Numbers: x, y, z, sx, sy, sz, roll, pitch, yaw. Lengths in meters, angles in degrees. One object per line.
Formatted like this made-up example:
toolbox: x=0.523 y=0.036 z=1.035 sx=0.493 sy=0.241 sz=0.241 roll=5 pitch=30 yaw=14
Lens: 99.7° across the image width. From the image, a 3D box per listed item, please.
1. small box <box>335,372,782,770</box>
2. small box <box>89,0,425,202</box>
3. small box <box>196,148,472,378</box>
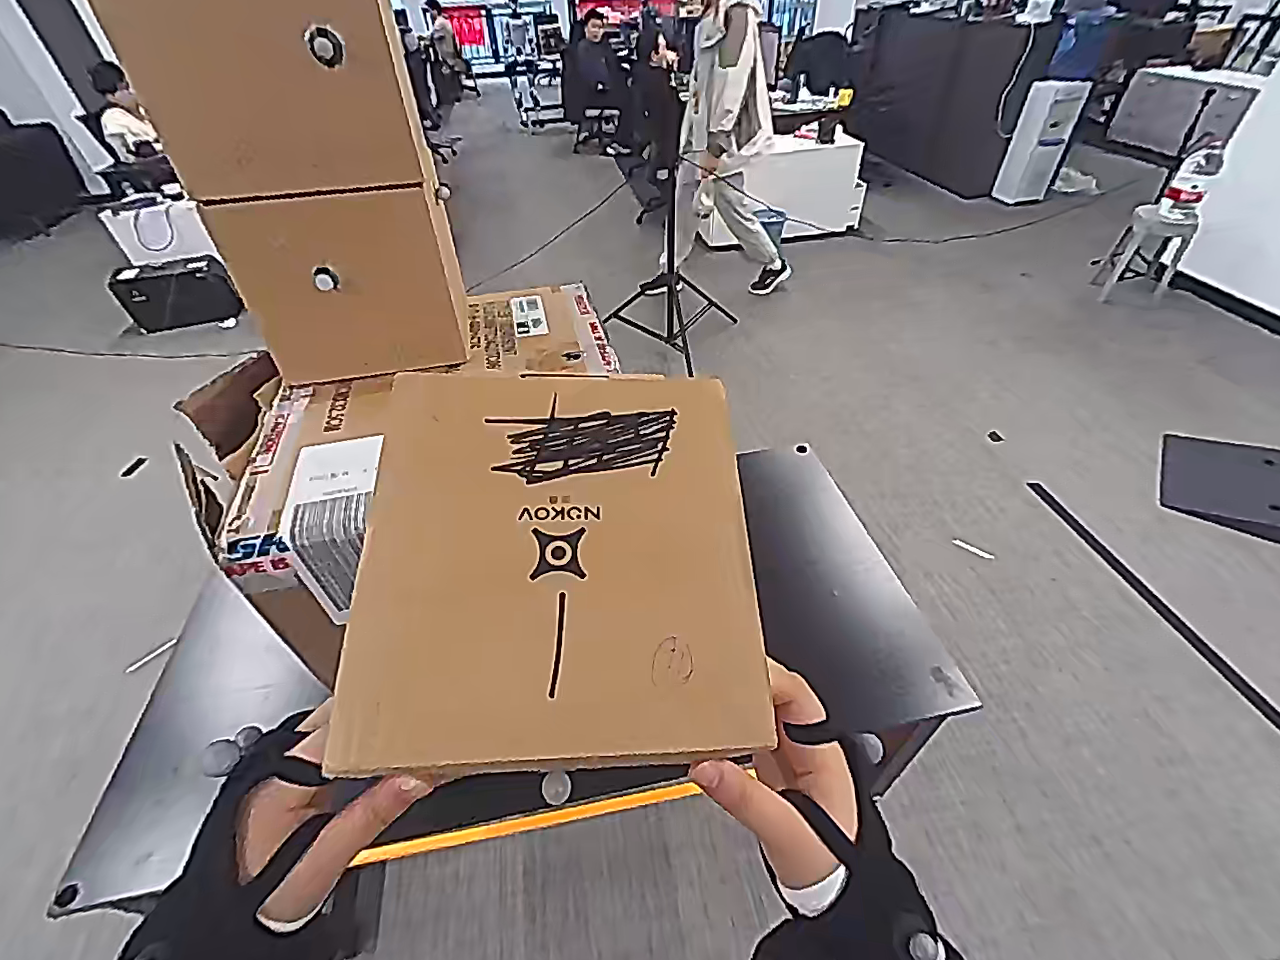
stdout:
small box: x=-0.037 y=0.061 z=0.306 sx=0.168 sy=0.176 sz=0.179 roll=0 pitch=62 yaw=-5
small box: x=-0.282 y=-0.339 z=0.434 sx=0.179 sy=0.176 sz=0.168 roll=-13 pitch=41 yaw=-11
small box: x=-0.280 y=-0.219 z=0.545 sx=0.179 sy=0.176 sz=0.168 roll=-11 pitch=42 yaw=-10
